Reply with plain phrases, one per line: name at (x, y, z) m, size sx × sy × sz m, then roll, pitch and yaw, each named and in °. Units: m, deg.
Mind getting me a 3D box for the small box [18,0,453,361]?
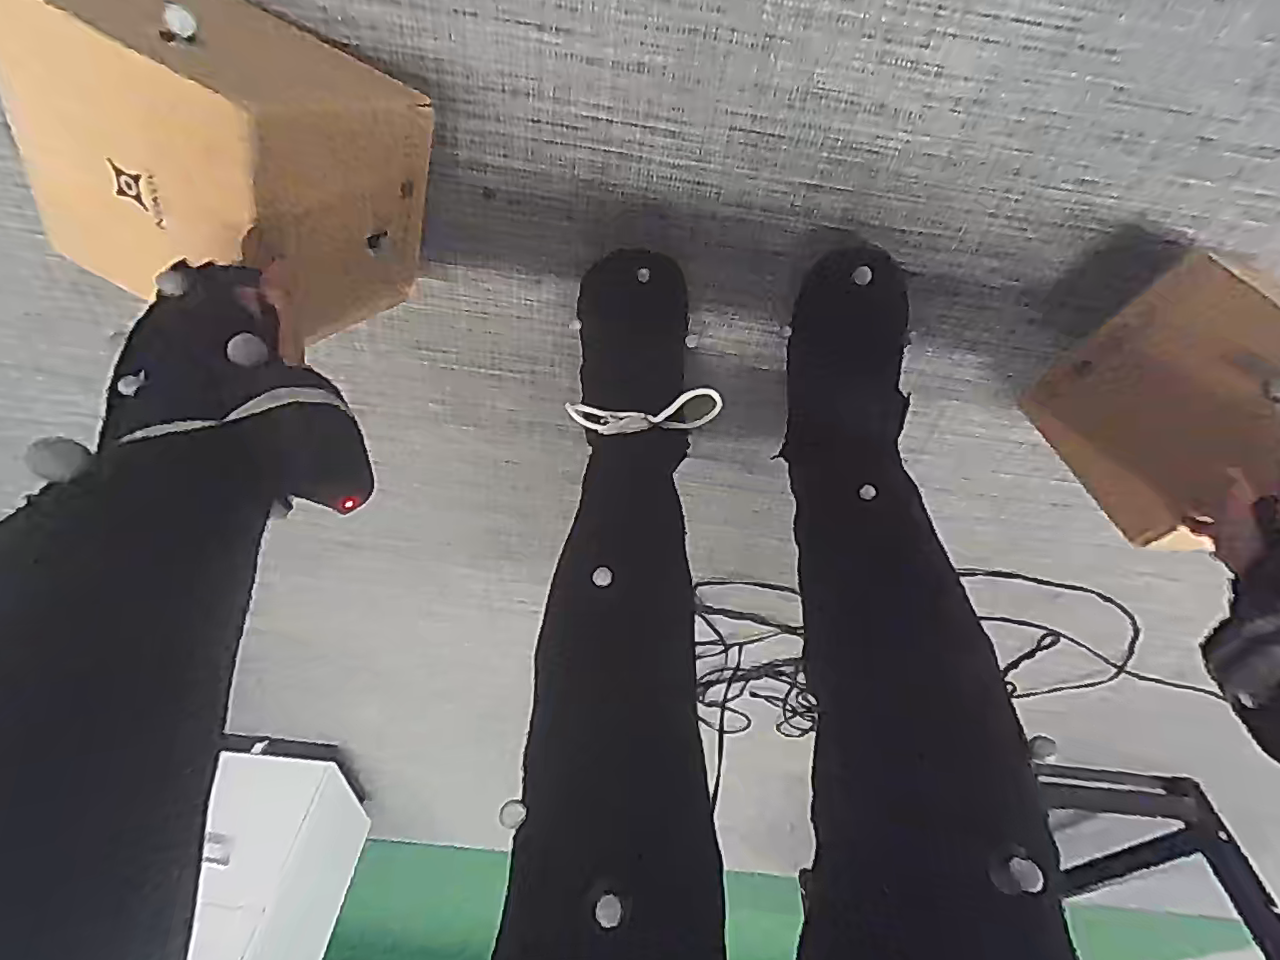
small box at (-0.272, -0.223, 0.403) m, size 0.179 × 0.176 × 0.168 m, roll 28°, pitch 127°, yaw -3°
